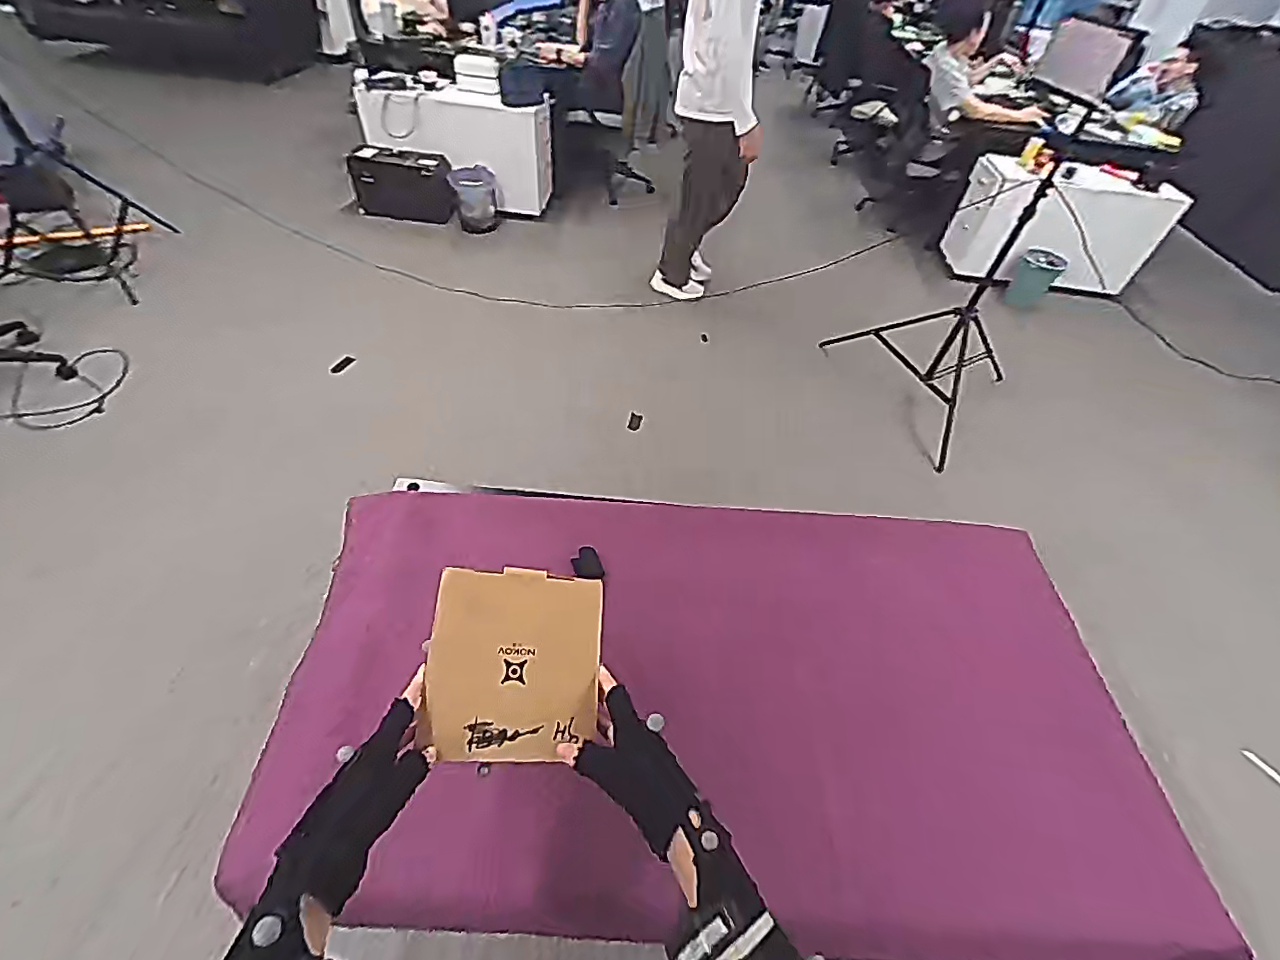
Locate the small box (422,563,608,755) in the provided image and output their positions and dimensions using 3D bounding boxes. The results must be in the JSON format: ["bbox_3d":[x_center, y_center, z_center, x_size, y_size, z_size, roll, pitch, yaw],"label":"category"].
[{"bbox_3d":[-0.137,0.205,0.605,0.168,0.176,0.179,7,66,-13],"label":"small box"}]
